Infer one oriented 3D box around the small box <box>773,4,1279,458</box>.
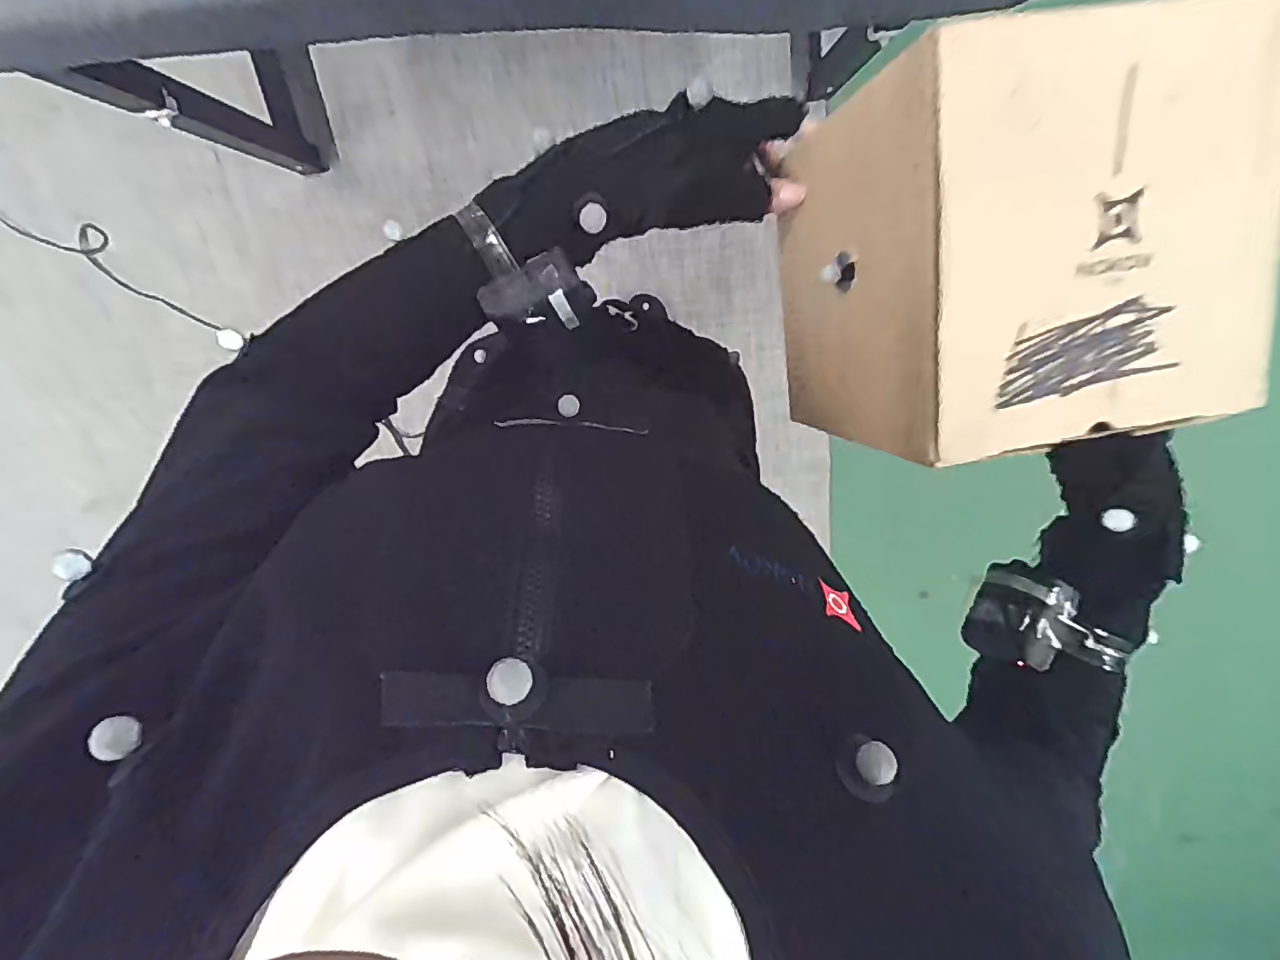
[{"bbox_3d":[0.189,-0.123,0.317,0.168,0.176,0.179,-9,104,-6],"label":"small box"}]
